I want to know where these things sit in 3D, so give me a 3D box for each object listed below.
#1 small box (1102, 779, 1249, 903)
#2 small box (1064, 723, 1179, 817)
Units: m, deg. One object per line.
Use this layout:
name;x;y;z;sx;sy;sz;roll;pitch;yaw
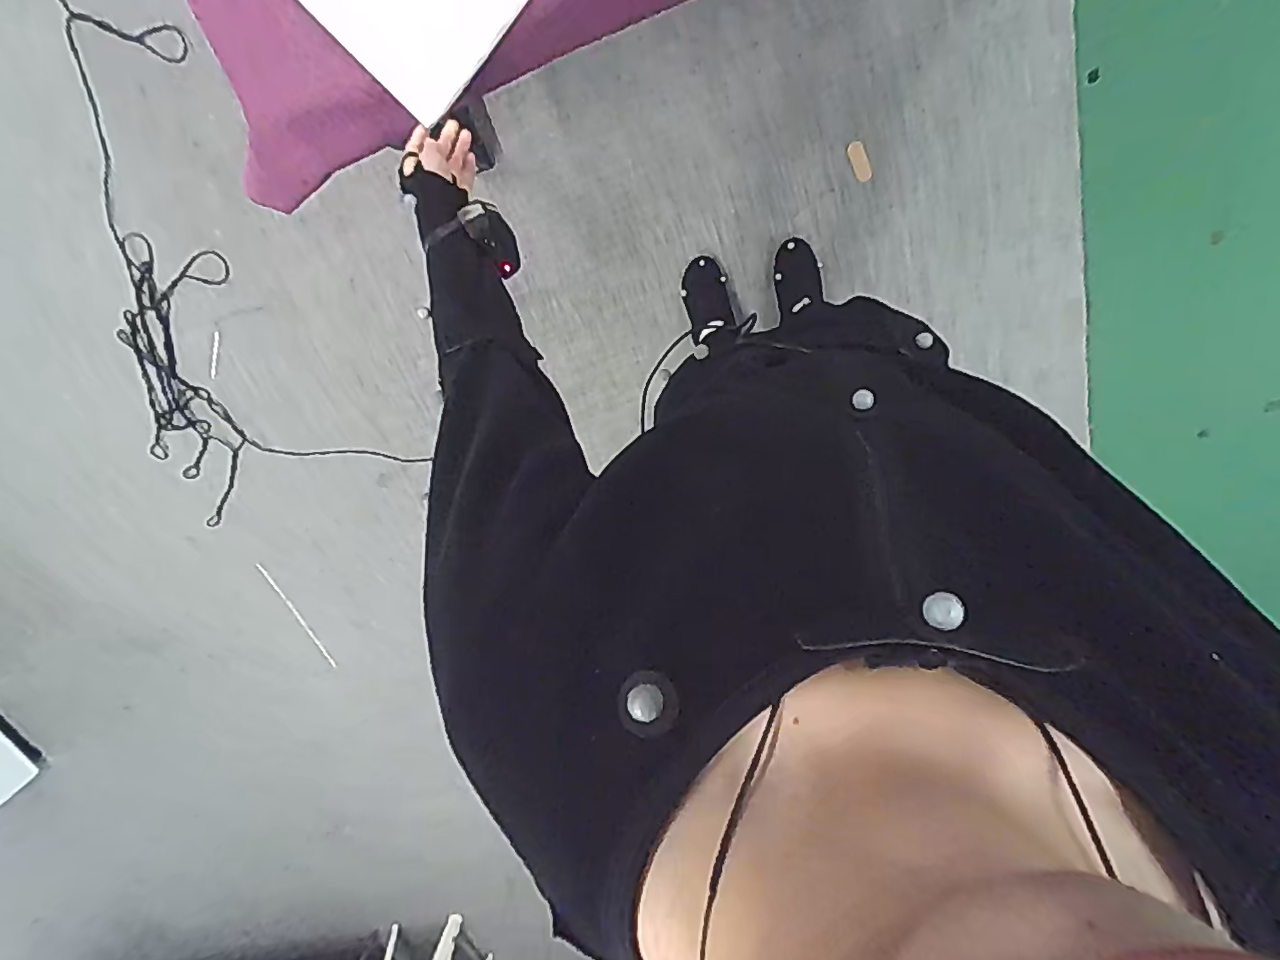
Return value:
small box;1.237;0.832;1.257;0.179;0.176;0.168;-23;110;14
small box;1.248;0.760;1.402;0.168;0.176;0.179;-24;109;14
